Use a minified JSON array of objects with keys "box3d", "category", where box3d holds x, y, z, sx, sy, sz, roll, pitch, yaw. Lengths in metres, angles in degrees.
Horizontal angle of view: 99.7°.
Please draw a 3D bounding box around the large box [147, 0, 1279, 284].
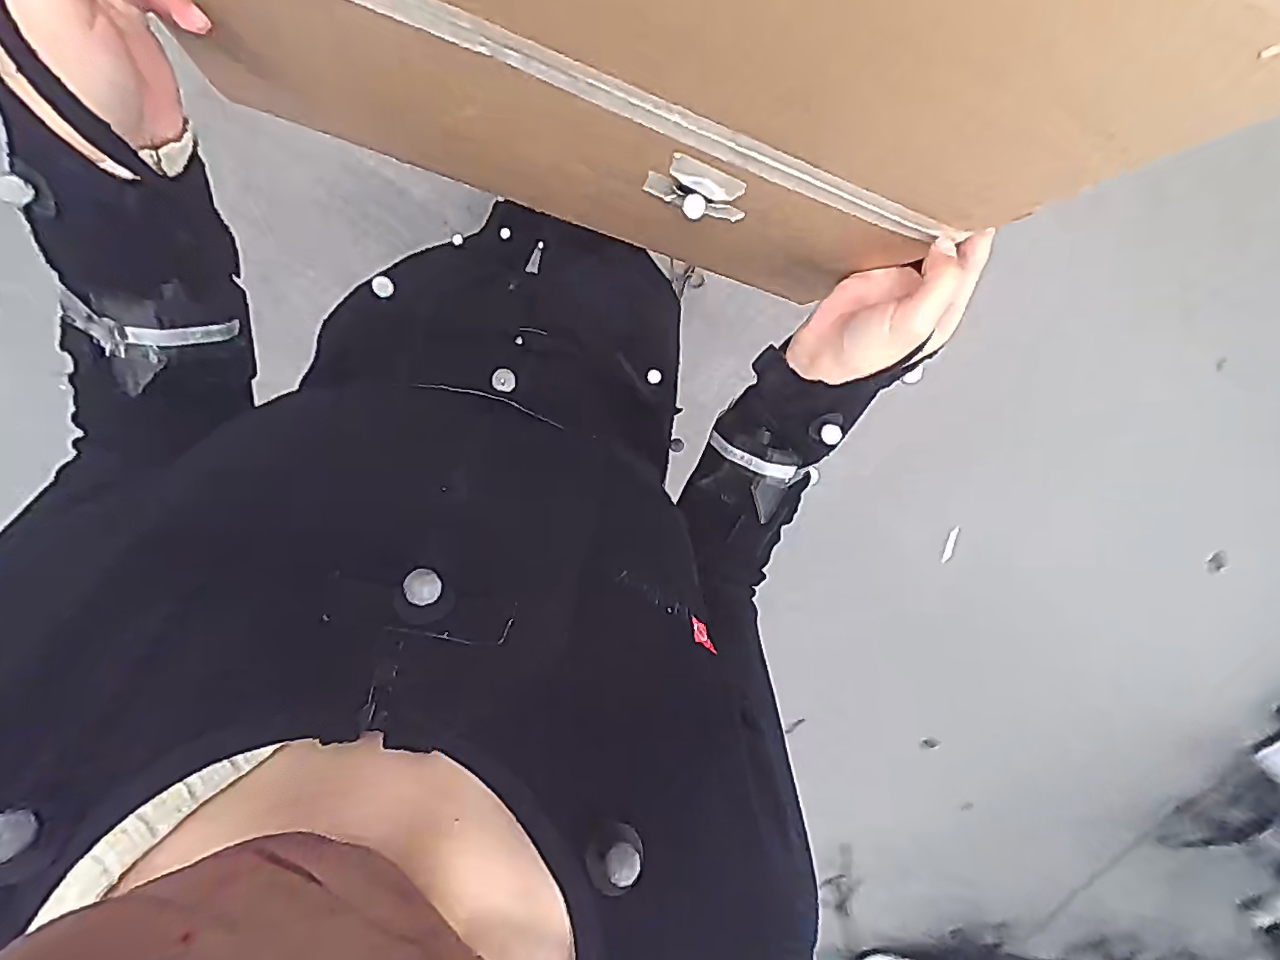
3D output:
[{"box3d":[0.009,-0.326,0.230,0.408,0.320,0.320,11,93,-16],"category":"large box"}]
